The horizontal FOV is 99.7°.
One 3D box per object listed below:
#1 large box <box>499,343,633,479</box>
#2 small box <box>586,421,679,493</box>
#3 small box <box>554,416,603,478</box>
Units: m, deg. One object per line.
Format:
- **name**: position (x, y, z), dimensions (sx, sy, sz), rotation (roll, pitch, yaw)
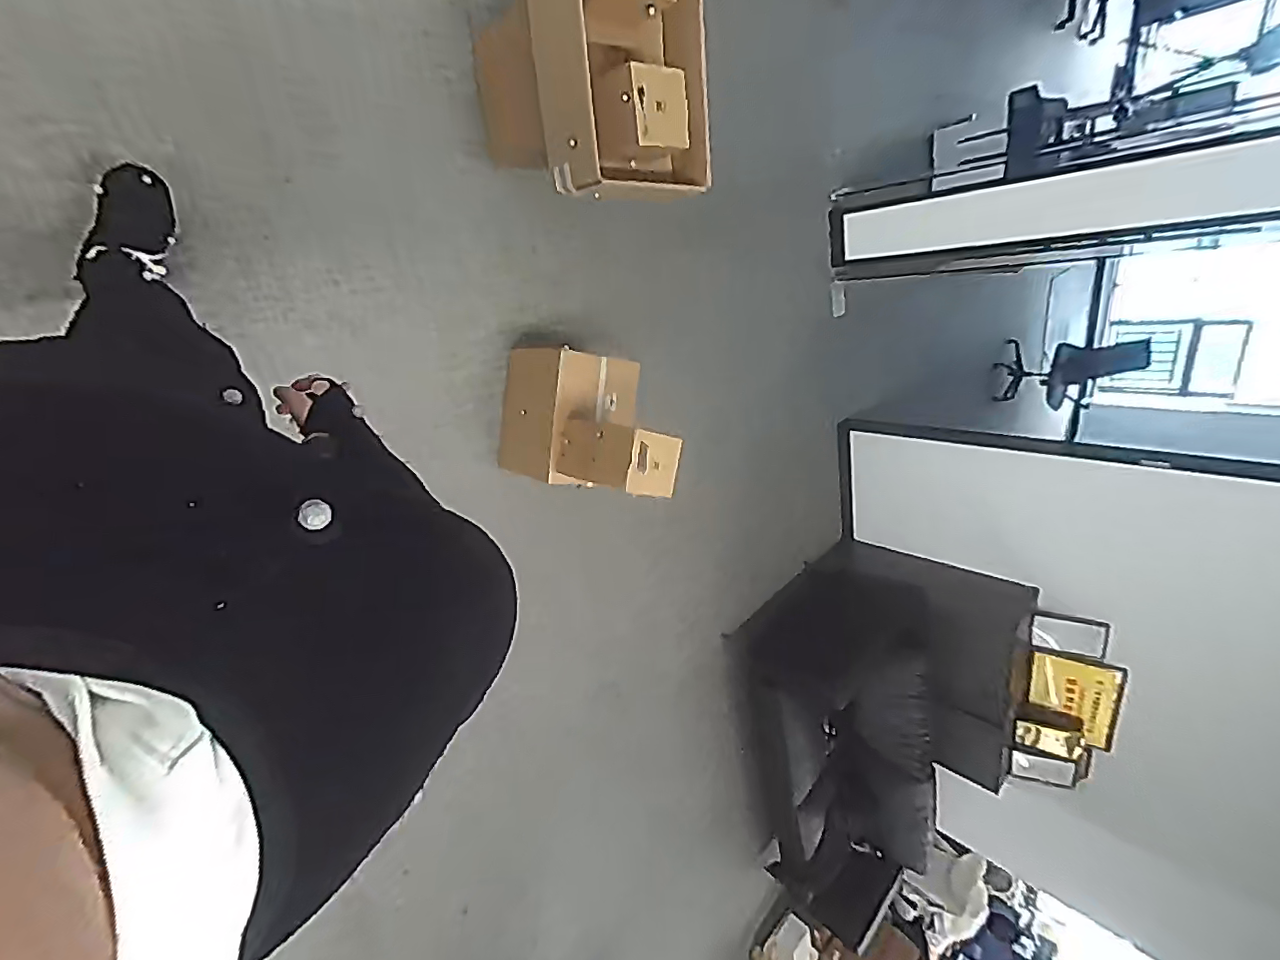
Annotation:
- **large box**: position (-0.252, -0.226, 1.794), dimensions (0.320, 0.320, 0.408), rotation (-2, 101, -44)
- **small box**: position (-0.024, -0.065, 1.481), dimensions (0.179, 0.176, 0.168), rotation (8, 95, -44)
- **small box**: position (-0.128, -0.092, 1.605), dimensions (0.179, 0.176, 0.168), rotation (8, 95, -43)
